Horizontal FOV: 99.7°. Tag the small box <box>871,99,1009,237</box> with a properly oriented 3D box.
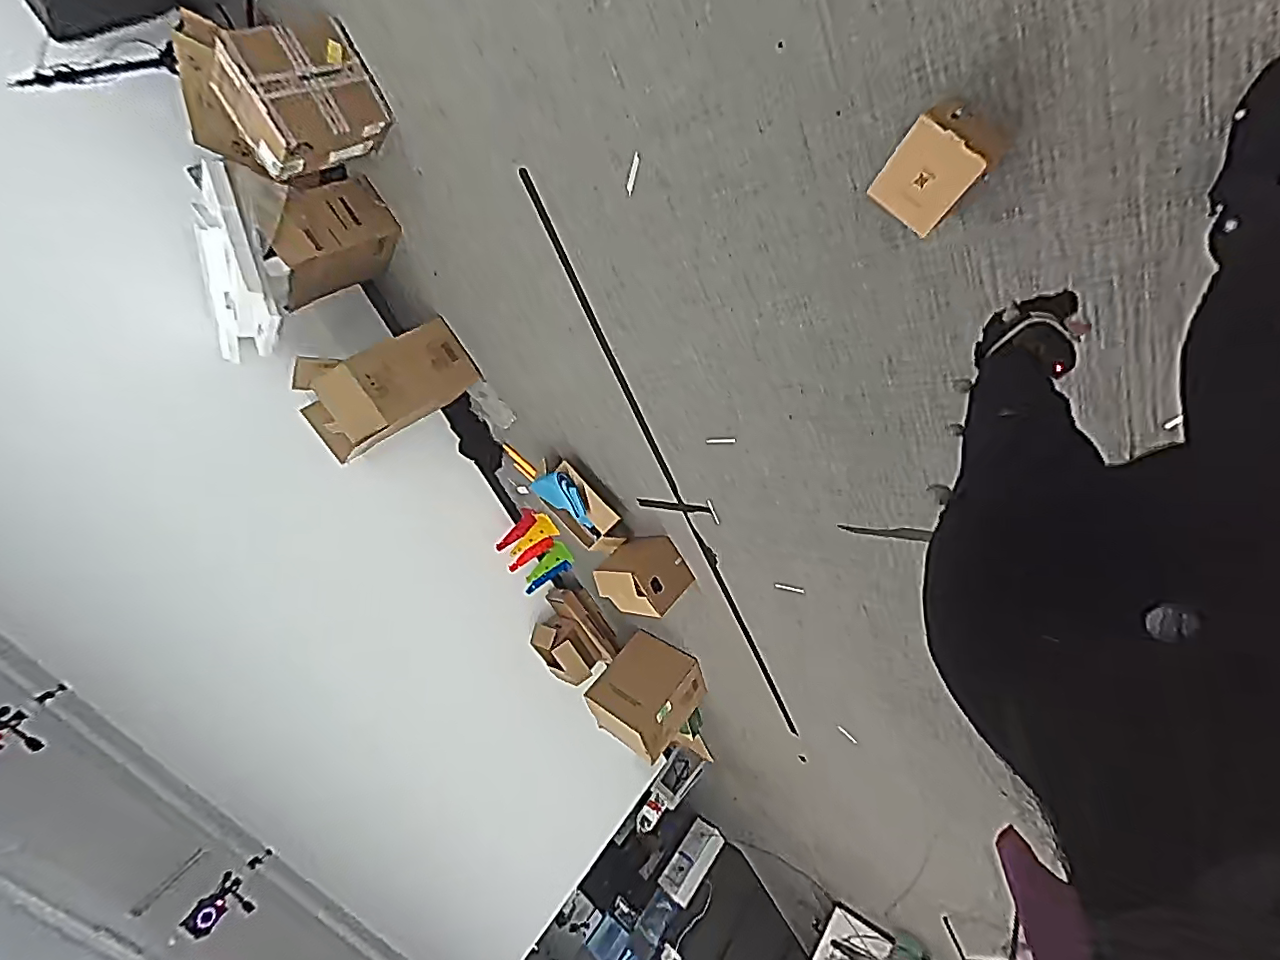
[{"bbox_3d":[0.633,-0.657,1.134,0.168,0.176,0.179,45,150,9],"label":"small box"}]
